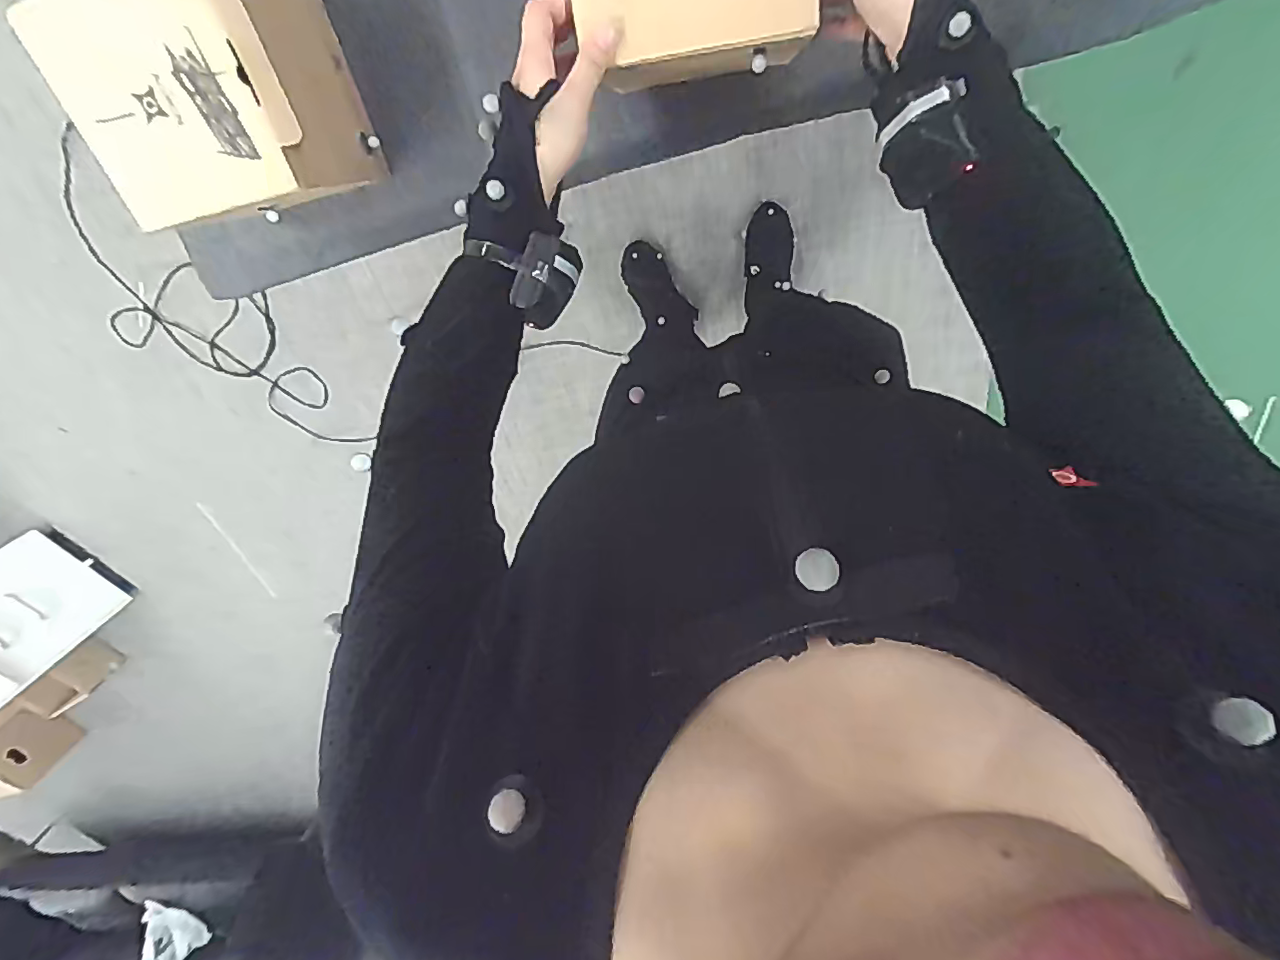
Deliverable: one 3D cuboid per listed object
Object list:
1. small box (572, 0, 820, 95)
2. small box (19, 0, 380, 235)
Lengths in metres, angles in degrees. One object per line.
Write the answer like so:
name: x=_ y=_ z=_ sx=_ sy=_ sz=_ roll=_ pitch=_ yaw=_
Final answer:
small box: x=0.041 y=-0.419 z=0.424 sx=0.179 sy=0.176 sz=0.168 roll=-3 pitch=121 yaw=9
small box: x=-0.381 y=-0.350 z=0.515 sx=0.179 sy=0.176 sz=0.168 roll=-8 pitch=121 yaw=12
